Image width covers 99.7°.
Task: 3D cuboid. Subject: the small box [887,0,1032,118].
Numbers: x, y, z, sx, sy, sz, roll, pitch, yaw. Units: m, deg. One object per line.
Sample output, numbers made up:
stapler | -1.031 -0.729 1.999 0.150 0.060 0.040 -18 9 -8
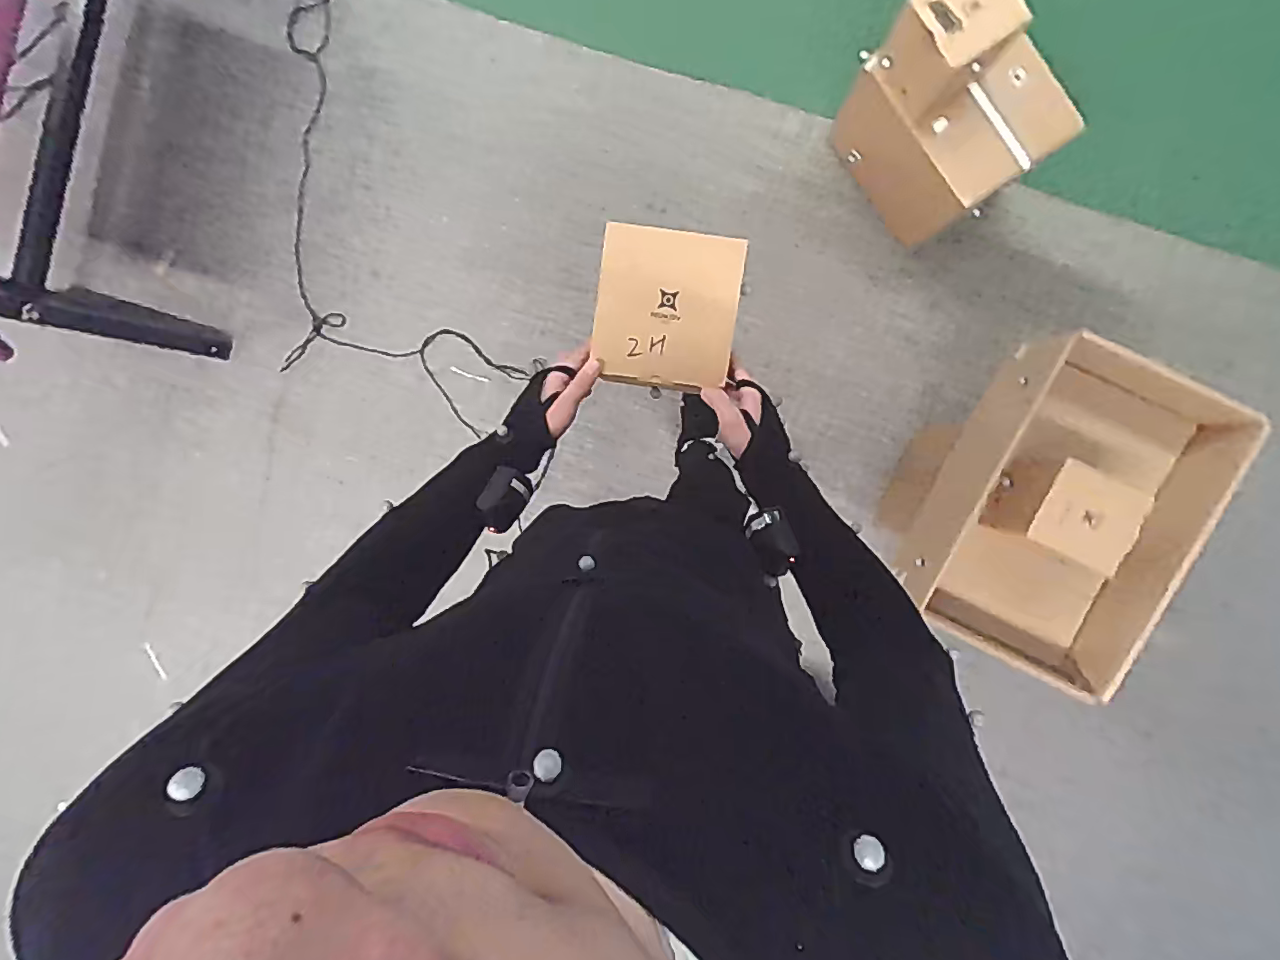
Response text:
small box | 0.640 -0.904 1.116 0.179 0.176 0.168 -32 92 5

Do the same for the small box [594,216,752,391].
small box | 0.039 -0.215 0.703 0.168 0.176 0.179 8 98 2
